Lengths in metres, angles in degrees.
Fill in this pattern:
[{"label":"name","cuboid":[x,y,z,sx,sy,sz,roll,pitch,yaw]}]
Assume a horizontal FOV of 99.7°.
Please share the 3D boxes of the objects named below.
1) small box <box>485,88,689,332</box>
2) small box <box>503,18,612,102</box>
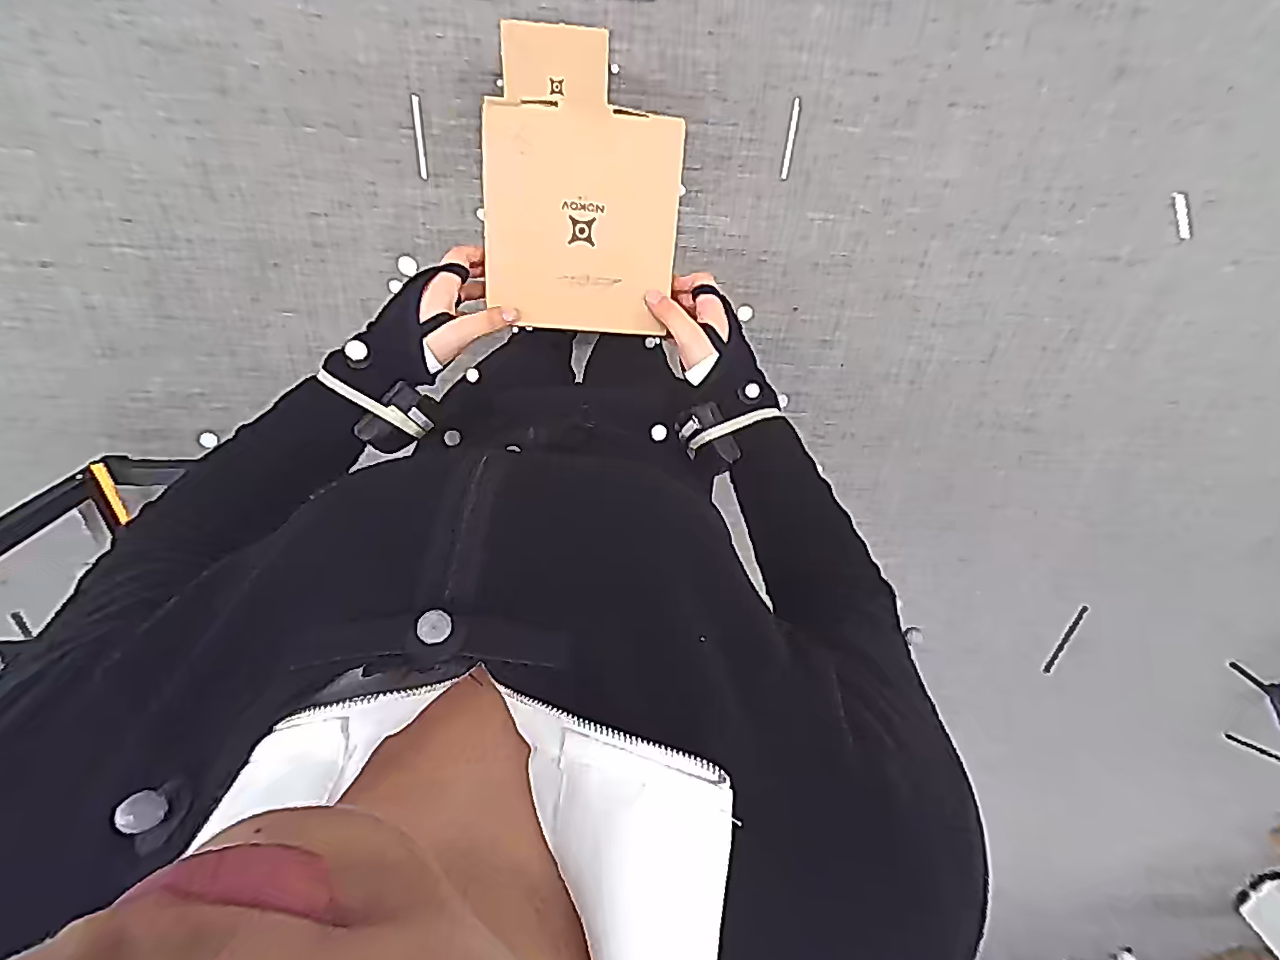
[{"label":"small box","cuboid":[-0.054,-0.249,0.530,0.168,0.176,0.179,2,112,-5]},{"label":"small box","cuboid":[-0.137,-0.648,0.919,0.168,0.176,0.179,2,121,-5]}]
